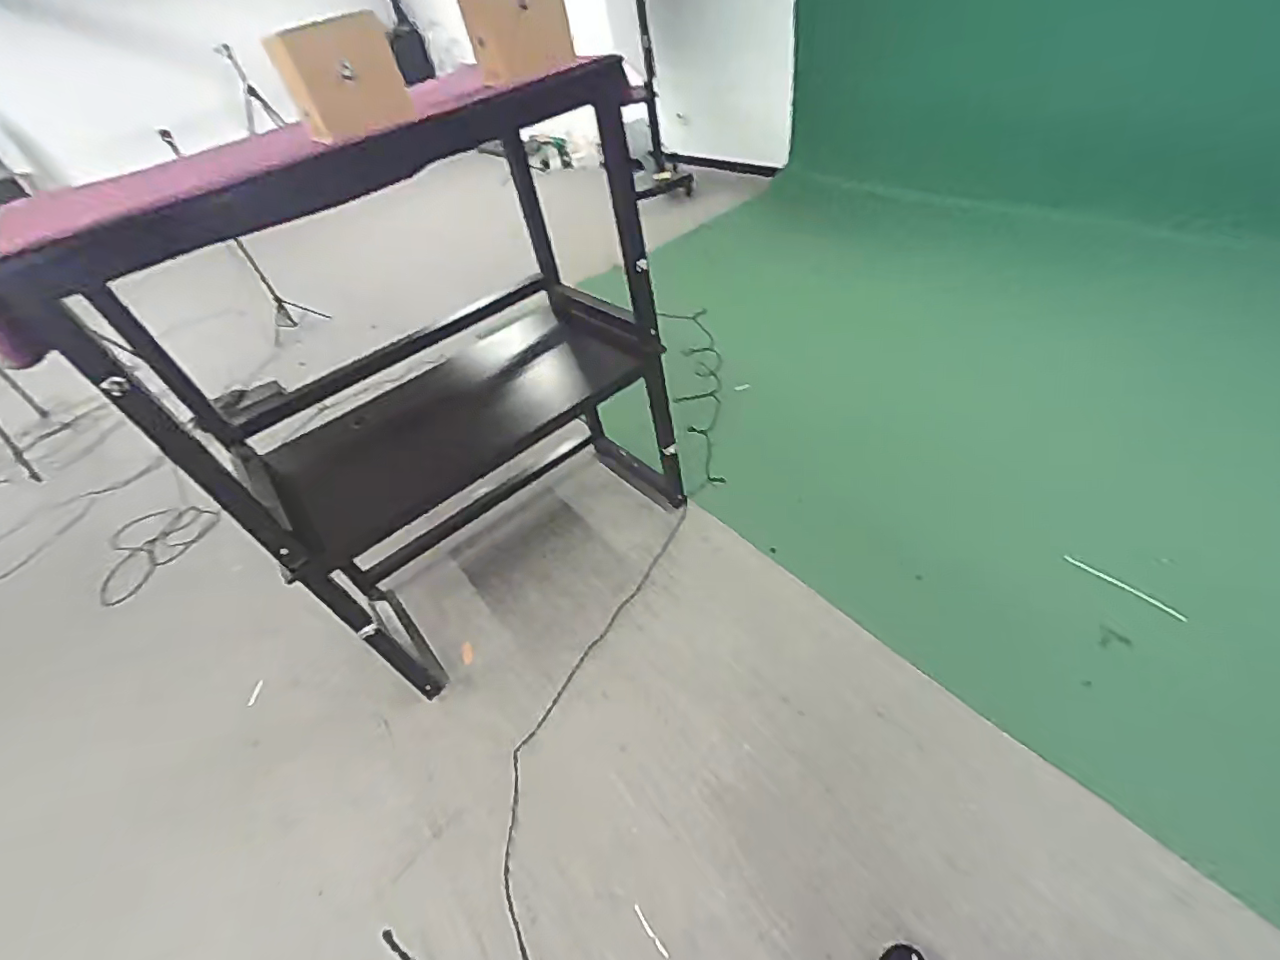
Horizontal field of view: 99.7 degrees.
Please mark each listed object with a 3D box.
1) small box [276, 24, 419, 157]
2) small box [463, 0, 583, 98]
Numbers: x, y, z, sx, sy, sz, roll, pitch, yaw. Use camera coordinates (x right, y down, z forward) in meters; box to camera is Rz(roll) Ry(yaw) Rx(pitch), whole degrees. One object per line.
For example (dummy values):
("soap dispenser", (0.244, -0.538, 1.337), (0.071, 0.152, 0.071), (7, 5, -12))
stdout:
("small box", (-0.555, -0.751, 1.047), (0.179, 0.176, 0.168), (-35, 46, -20))
("small box", (-0.249, -0.954, 1.177), (0.179, 0.176, 0.168), (-32, 47, -17))
